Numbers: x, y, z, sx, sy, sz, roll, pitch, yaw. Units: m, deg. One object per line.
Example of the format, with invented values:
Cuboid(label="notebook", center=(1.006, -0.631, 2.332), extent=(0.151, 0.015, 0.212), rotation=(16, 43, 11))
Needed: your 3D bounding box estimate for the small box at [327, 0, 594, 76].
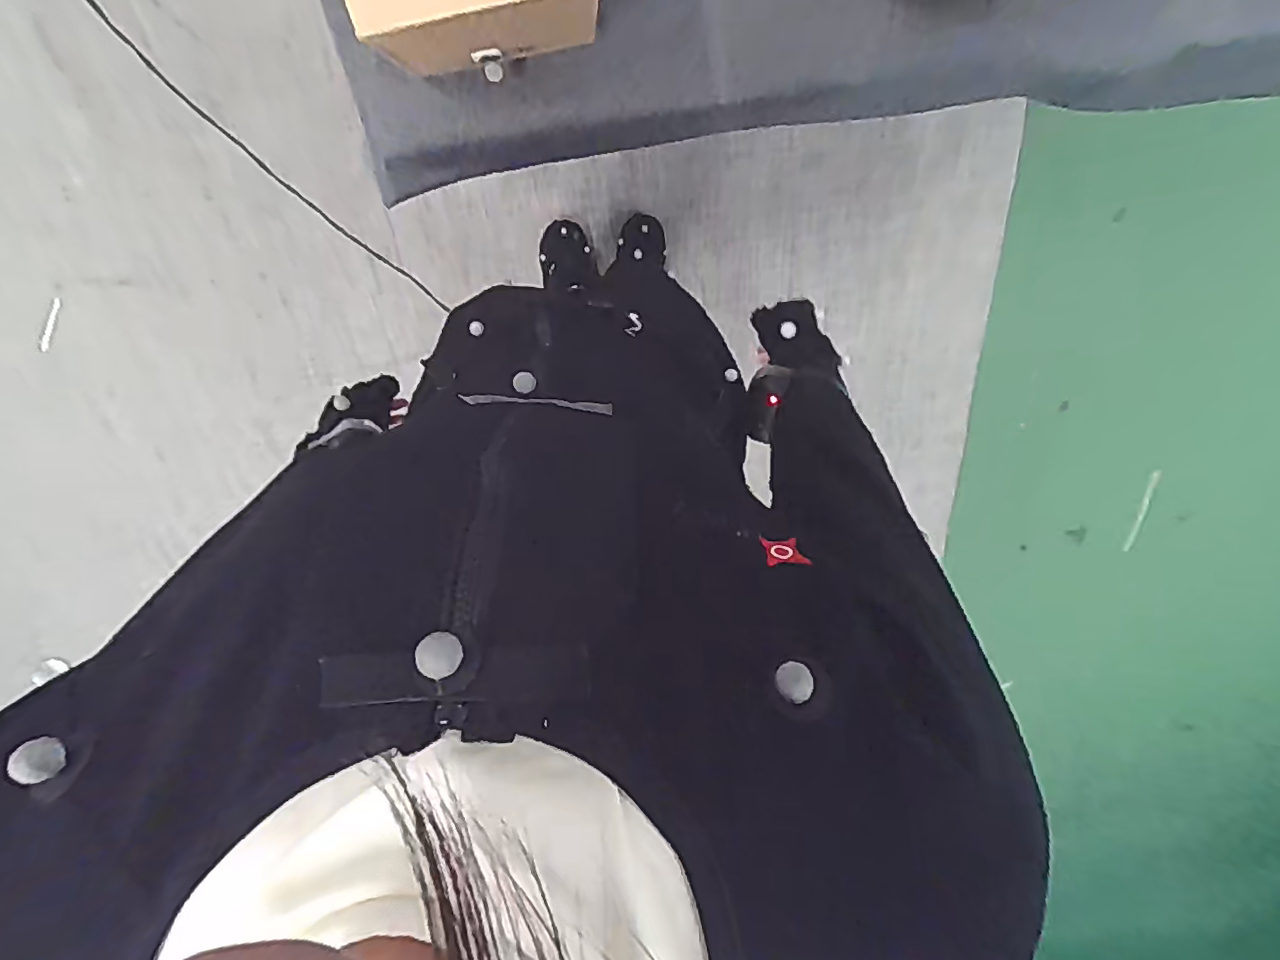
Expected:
Cuboid(label="small box", center=(-0.127, -0.406, 0.365), extent=(0.168, 0.176, 0.179), rotation=(-10, 118, 1))
